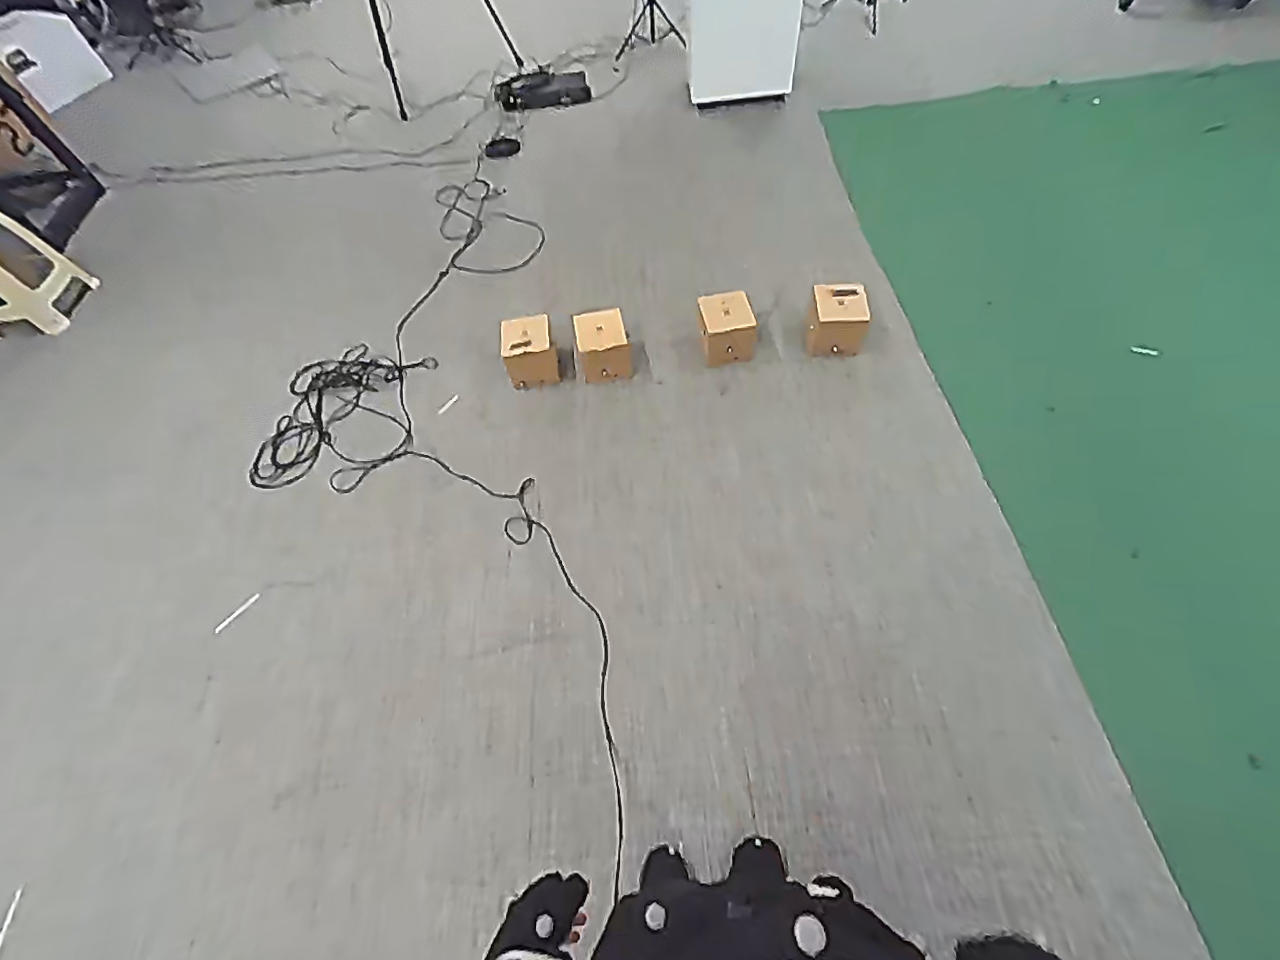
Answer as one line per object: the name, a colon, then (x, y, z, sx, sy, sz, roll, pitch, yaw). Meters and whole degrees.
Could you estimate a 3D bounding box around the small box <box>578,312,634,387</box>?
small box: (-0.117, -0.453, 1.888, 0.168, 0.176, 0.179, -11, 59, -1)

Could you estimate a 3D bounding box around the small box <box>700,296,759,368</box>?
small box: (0.306, -0.508, 1.883, 0.168, 0.176, 0.179, -10, 59, -2)

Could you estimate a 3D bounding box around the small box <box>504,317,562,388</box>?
small box: (-0.372, -0.441, 1.903, 0.168, 0.176, 0.179, -8, 57, 0)
